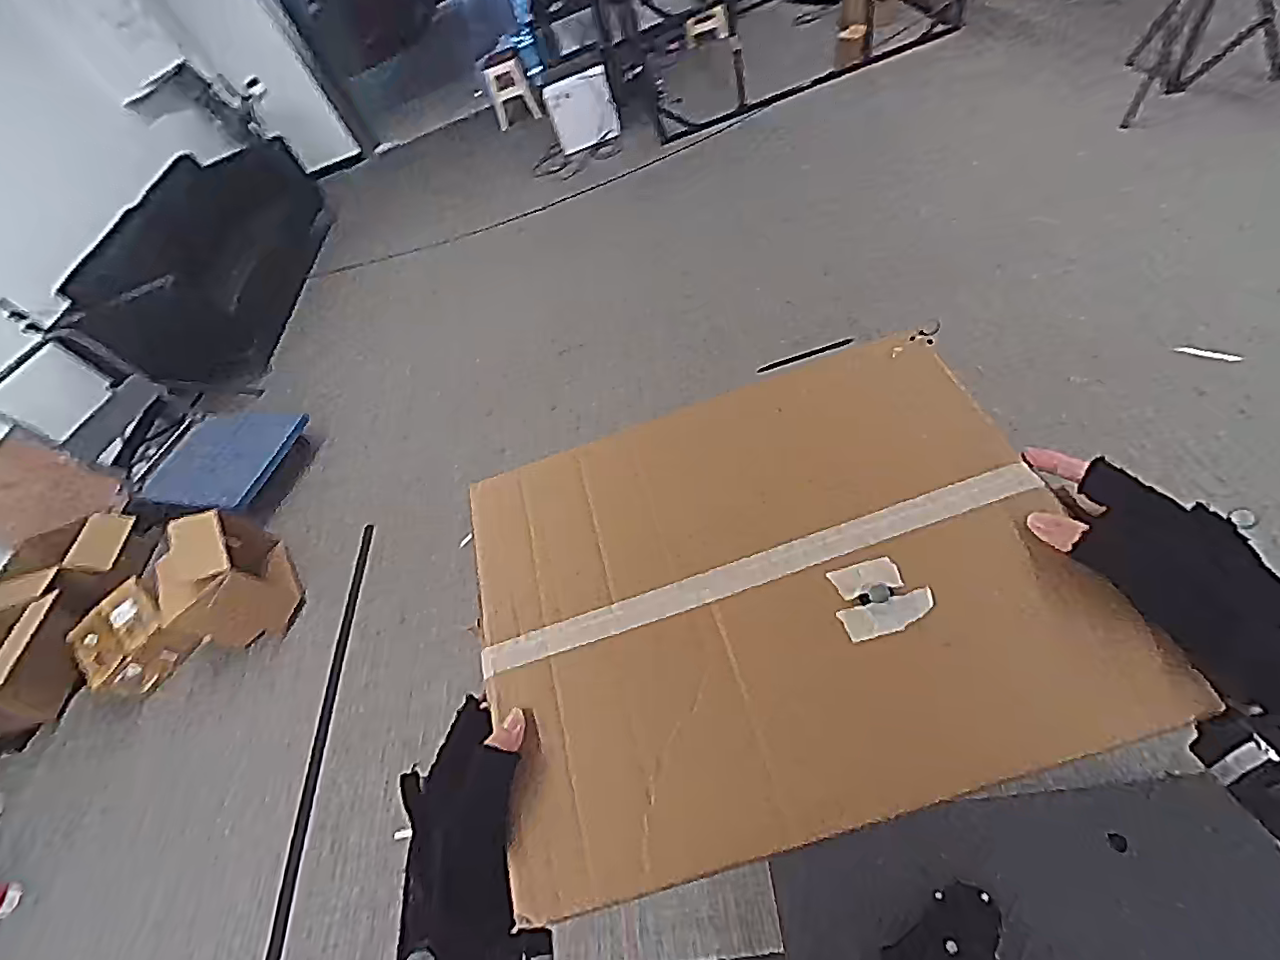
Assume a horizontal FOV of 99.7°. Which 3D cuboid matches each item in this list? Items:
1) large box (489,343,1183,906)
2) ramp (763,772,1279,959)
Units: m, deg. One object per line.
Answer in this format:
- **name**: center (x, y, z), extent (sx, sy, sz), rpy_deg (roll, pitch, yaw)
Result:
- **large box**: center (0.119, 0.142, 0.520), extent (0.408, 0.320, 0.320), rpy_deg (-19, 58, 3)
- **ramp**: center (0.776, 0.883, 1.033), extent (0.991, 0.206, 0.509), rpy_deg (-16, 50, 9)
